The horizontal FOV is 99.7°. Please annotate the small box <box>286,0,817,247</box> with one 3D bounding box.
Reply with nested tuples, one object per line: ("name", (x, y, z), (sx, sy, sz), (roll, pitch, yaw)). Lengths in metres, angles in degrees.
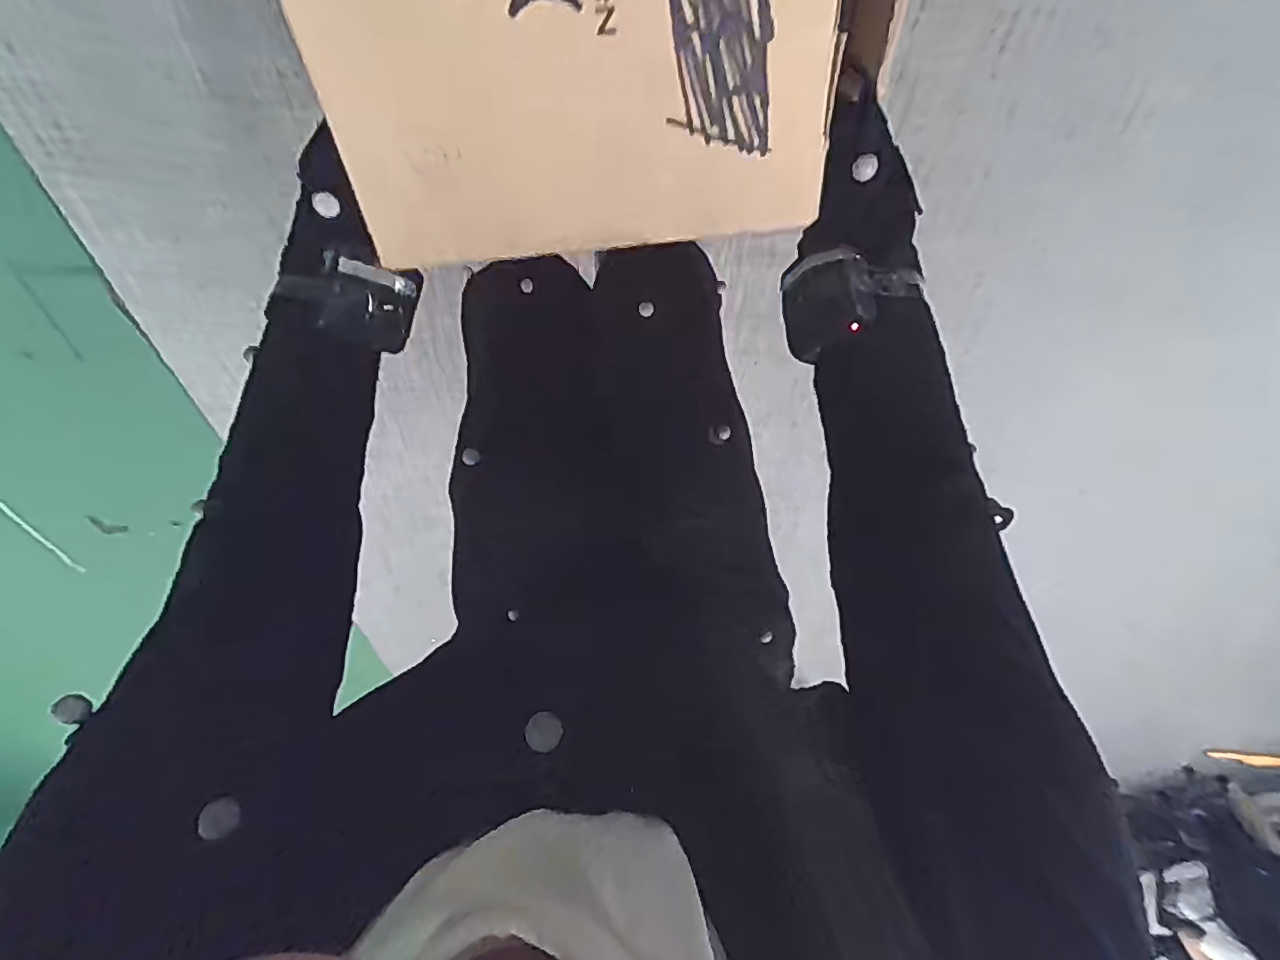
("small box", (-0.032, -0.215, 0.231), (0.179, 0.176, 0.168), (-4, 130, 0))
